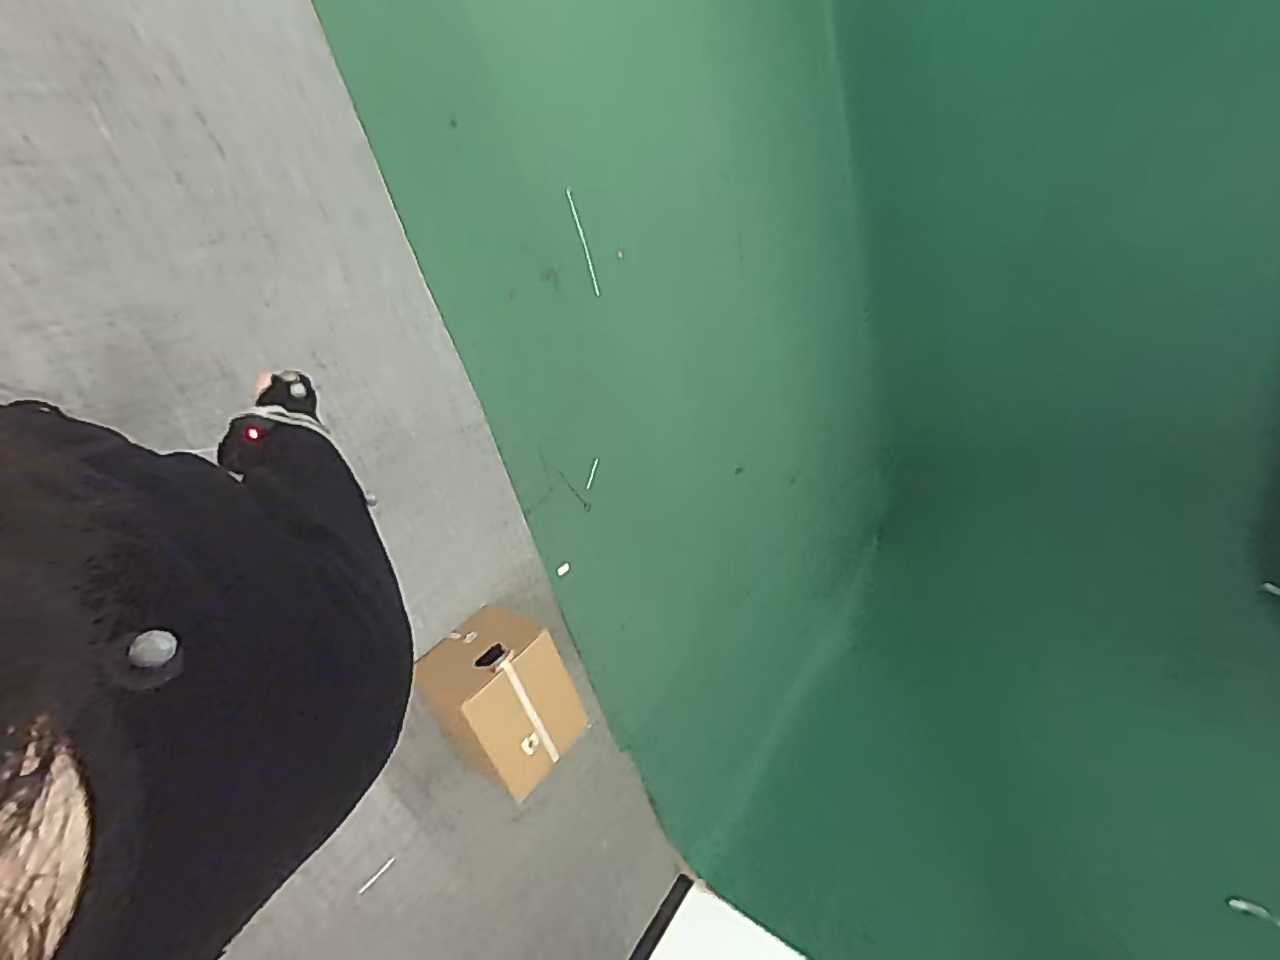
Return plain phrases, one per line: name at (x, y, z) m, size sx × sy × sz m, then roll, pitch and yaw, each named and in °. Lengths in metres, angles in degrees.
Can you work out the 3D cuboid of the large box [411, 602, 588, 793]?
large box at (-0.424, 0.652, 1.668) m, size 0.320 × 0.320 × 0.408 m, roll -39°, pitch 122°, yaw -39°
